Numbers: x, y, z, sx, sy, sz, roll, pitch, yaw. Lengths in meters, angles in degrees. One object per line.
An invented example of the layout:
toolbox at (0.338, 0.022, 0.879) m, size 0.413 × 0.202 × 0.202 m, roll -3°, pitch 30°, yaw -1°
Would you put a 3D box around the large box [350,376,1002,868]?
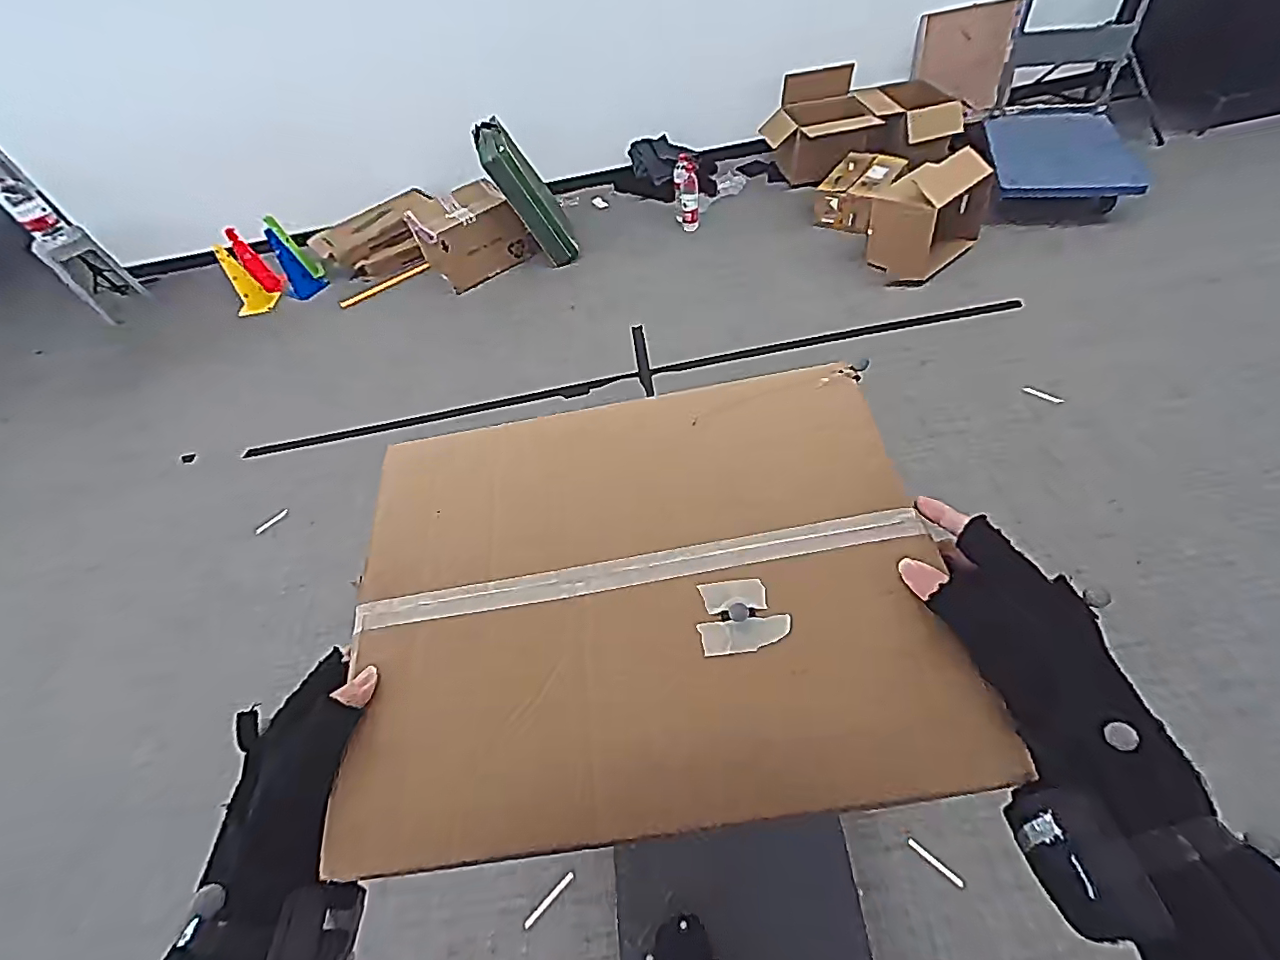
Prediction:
large box at (0.016, 0.150, 0.523) m, size 0.408 × 0.320 × 0.320 m, roll -10°, pitch 58°, yaw 3°
